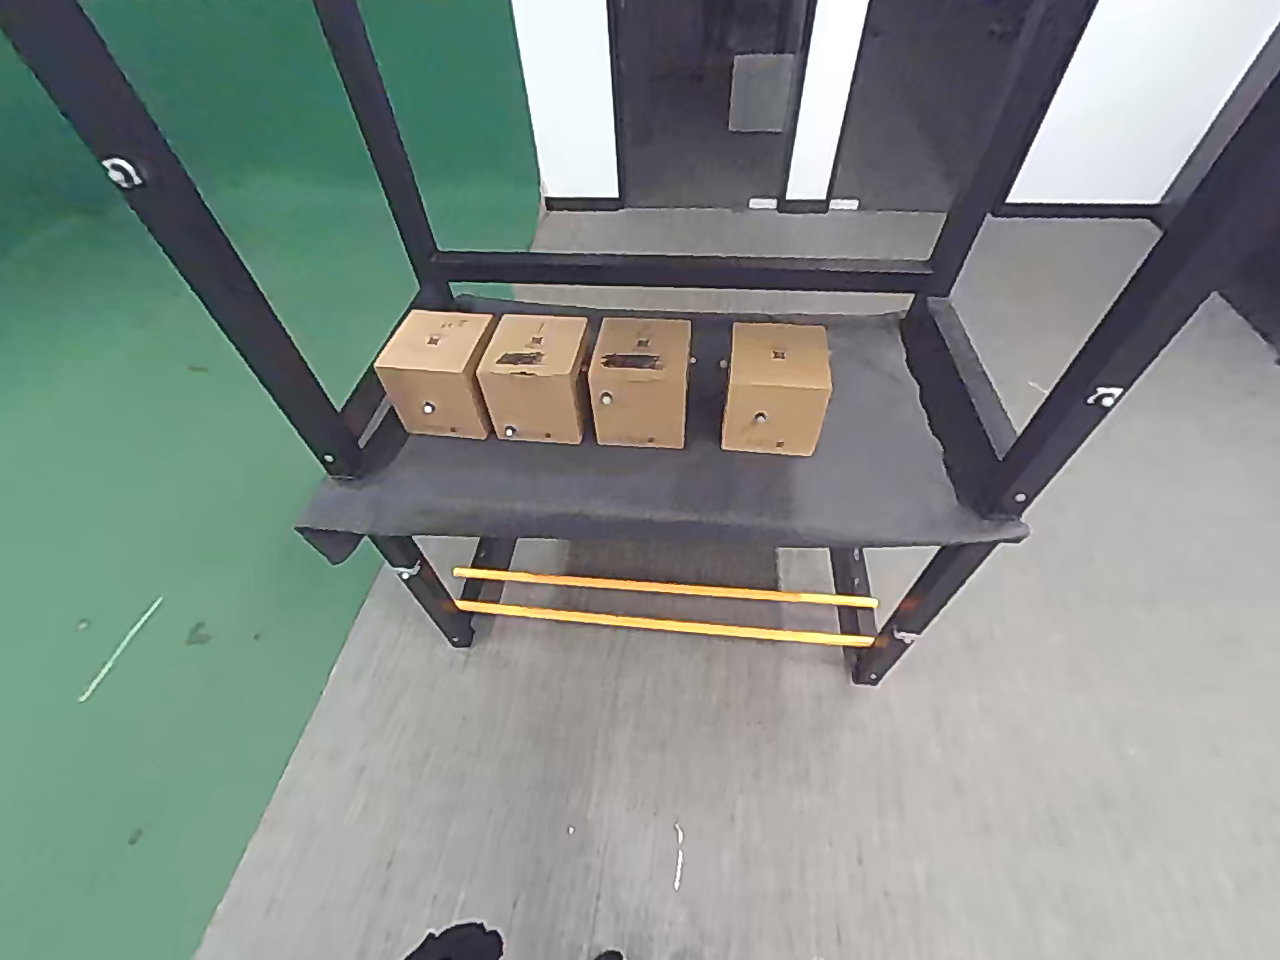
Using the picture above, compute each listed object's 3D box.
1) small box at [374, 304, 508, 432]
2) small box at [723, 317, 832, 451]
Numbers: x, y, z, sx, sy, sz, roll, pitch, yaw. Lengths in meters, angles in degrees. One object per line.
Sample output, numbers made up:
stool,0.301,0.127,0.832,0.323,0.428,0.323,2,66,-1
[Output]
small box,-0.365,-0.211,1.036,0.168,0.176,0.179,7,51,6
small box,0.242,-0.172,0.980,0.168,0.176,0.179,6,51,7
